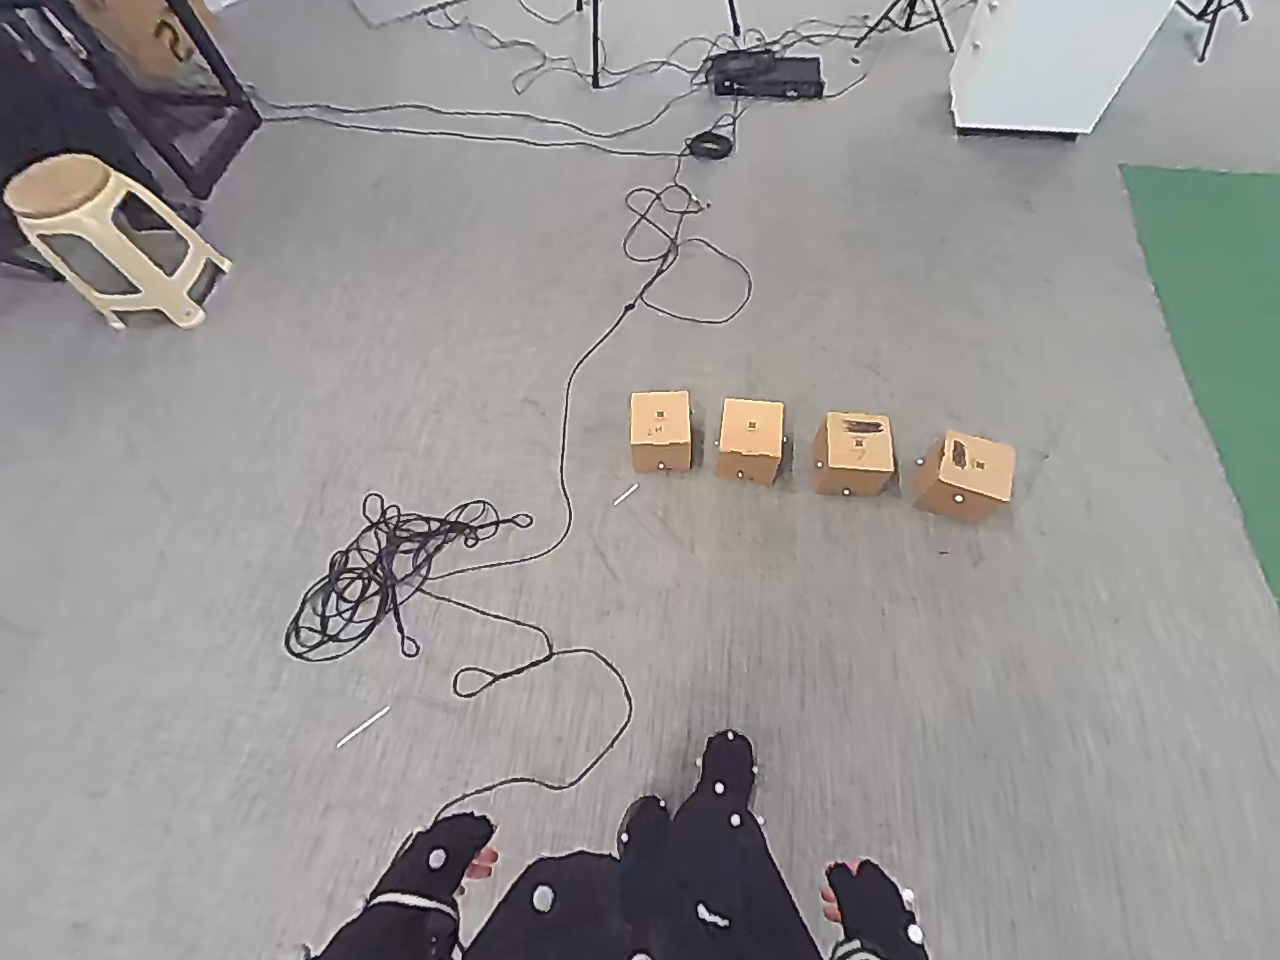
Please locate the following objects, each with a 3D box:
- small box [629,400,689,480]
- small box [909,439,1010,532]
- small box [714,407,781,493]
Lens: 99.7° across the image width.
[{"bbox_3d":[0.056,-0.115,1.582,0.168,0.176,0.179,-1,62,4],"label":"small box"},{"bbox_3d":[0.859,0.020,1.465,0.179,0.176,0.168,20,65,12],"label":"small box"},{"bbox_3d":[0.305,-0.085,1.555,0.168,0.176,0.179,6,63,7],"label":"small box"}]
